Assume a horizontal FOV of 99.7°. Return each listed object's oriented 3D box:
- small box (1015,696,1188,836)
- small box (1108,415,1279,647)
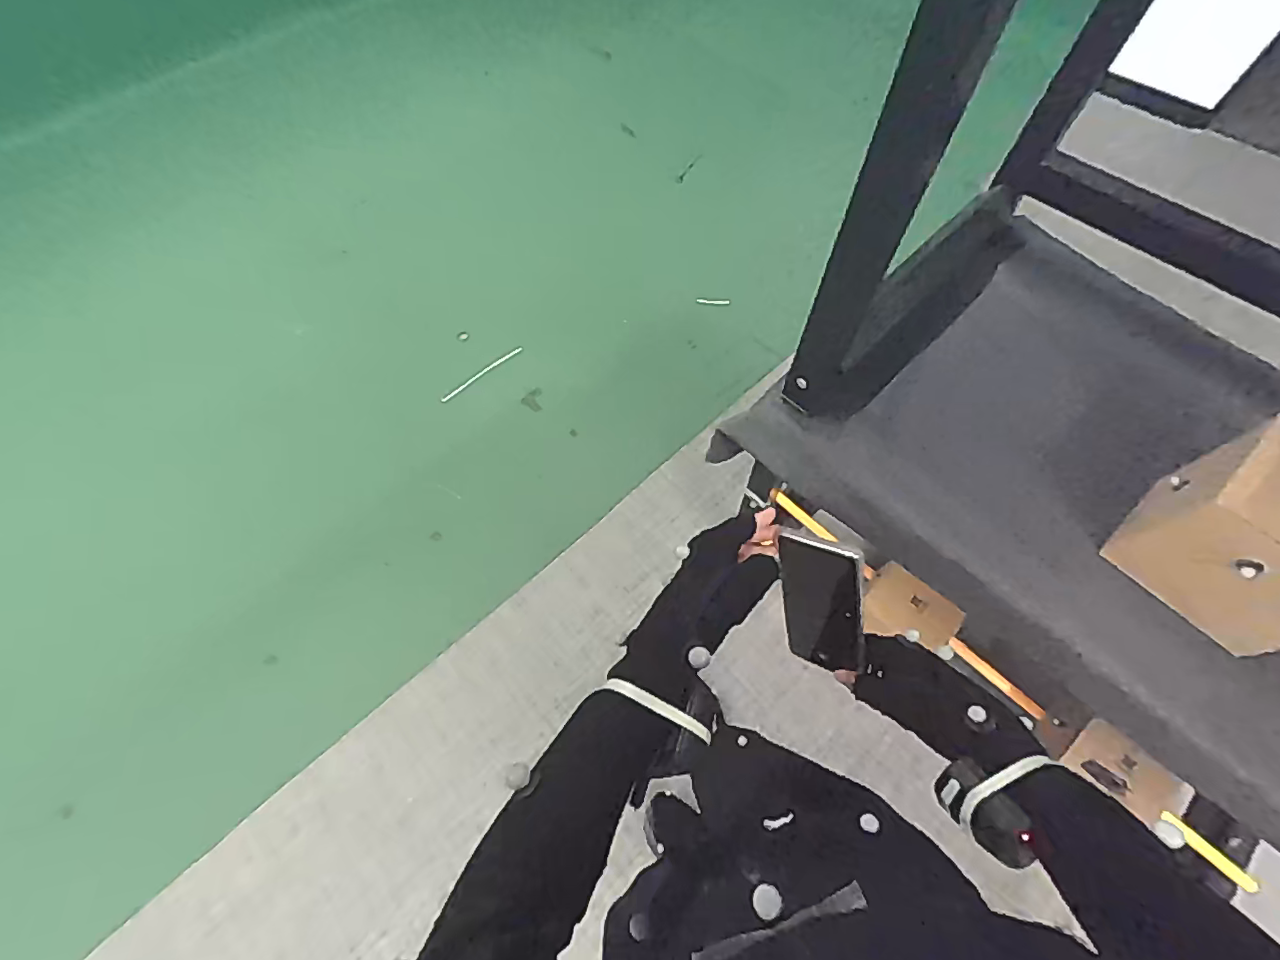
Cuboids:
[{"bbox_3d":[0.891,0.557,1.067,0.179,0.176,0.168,-38,68,-15],"label":"small box"},{"bbox_3d":[0.710,0.066,0.622,0.168,0.176,0.179,-38,68,-16],"label":"small box"}]
